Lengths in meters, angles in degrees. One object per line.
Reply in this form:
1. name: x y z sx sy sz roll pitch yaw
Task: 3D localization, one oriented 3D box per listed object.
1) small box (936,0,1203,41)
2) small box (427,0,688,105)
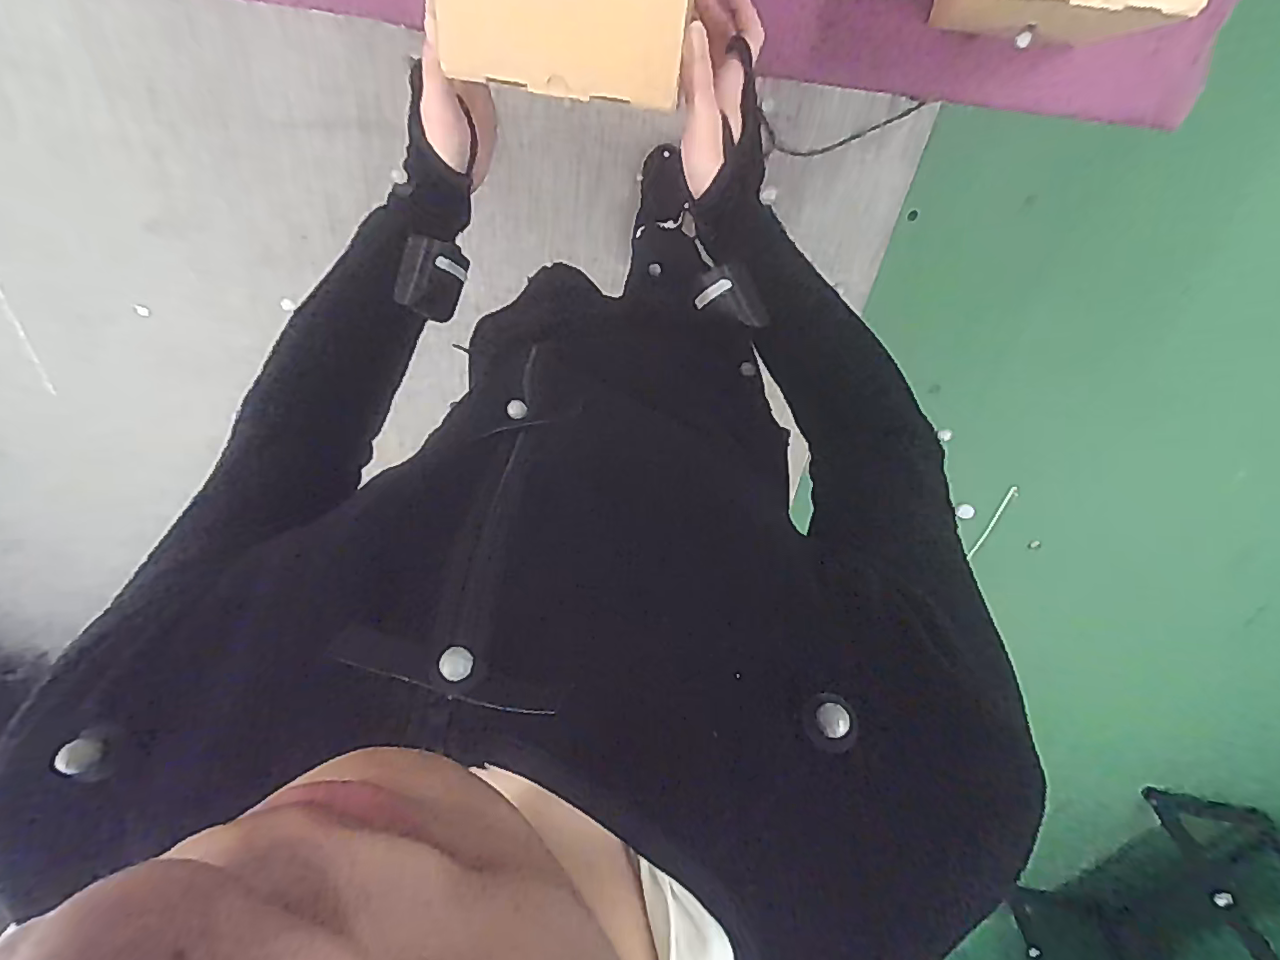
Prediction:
1. small box: 0.381 -0.500 0.453 0.168 0.176 0.179 9 124 2
2. small box: -0.044 -0.385 0.382 0.168 0.176 0.179 8 127 -1
